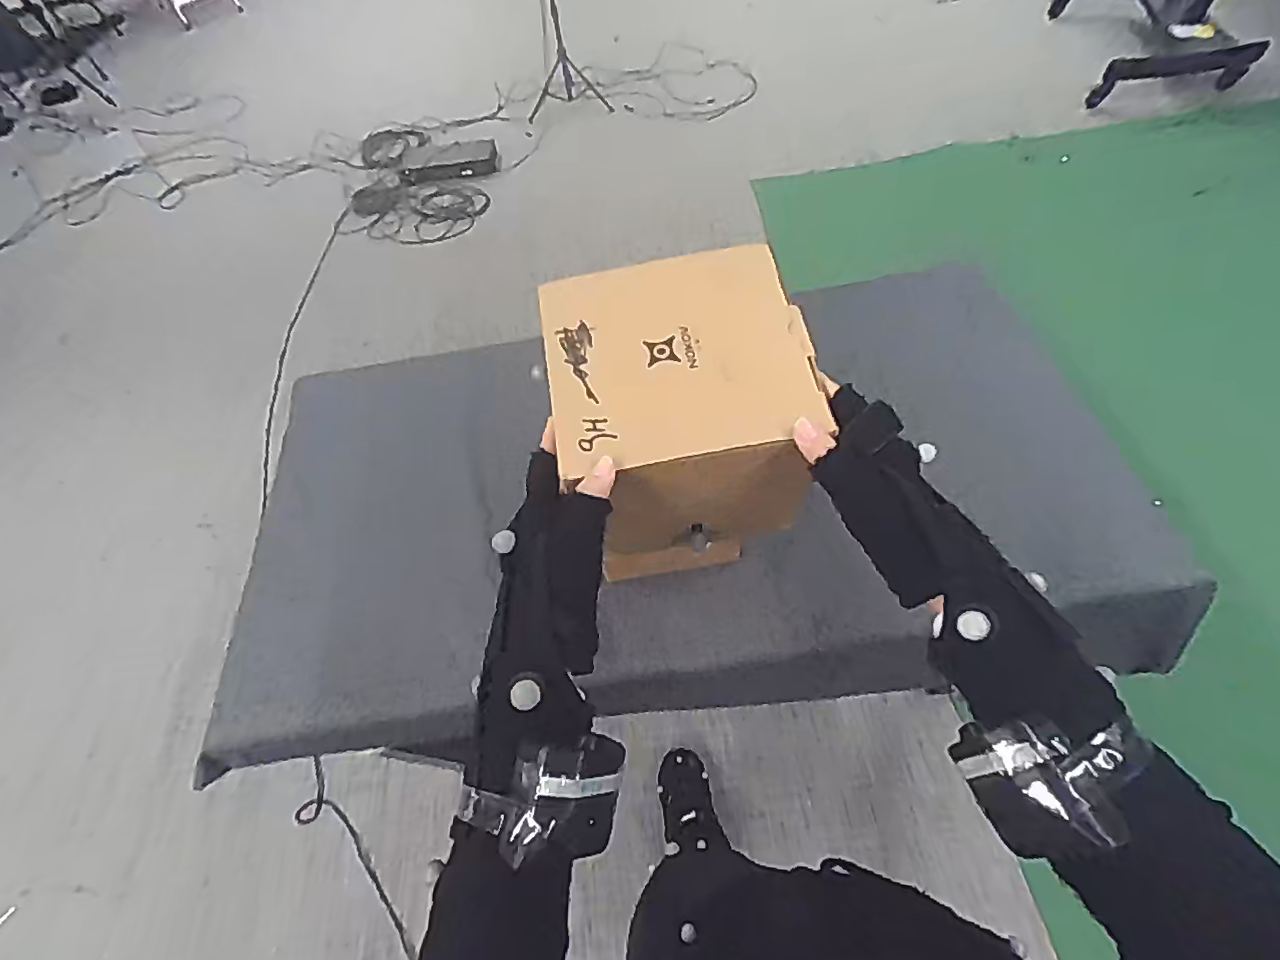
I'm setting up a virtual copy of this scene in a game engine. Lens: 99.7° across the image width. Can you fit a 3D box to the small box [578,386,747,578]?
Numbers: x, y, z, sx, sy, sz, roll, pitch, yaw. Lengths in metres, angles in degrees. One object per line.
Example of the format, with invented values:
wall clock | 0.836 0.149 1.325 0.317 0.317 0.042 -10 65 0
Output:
small box | 0.027 0.009 0.691 0.179 0.176 0.168 -11 56 1
